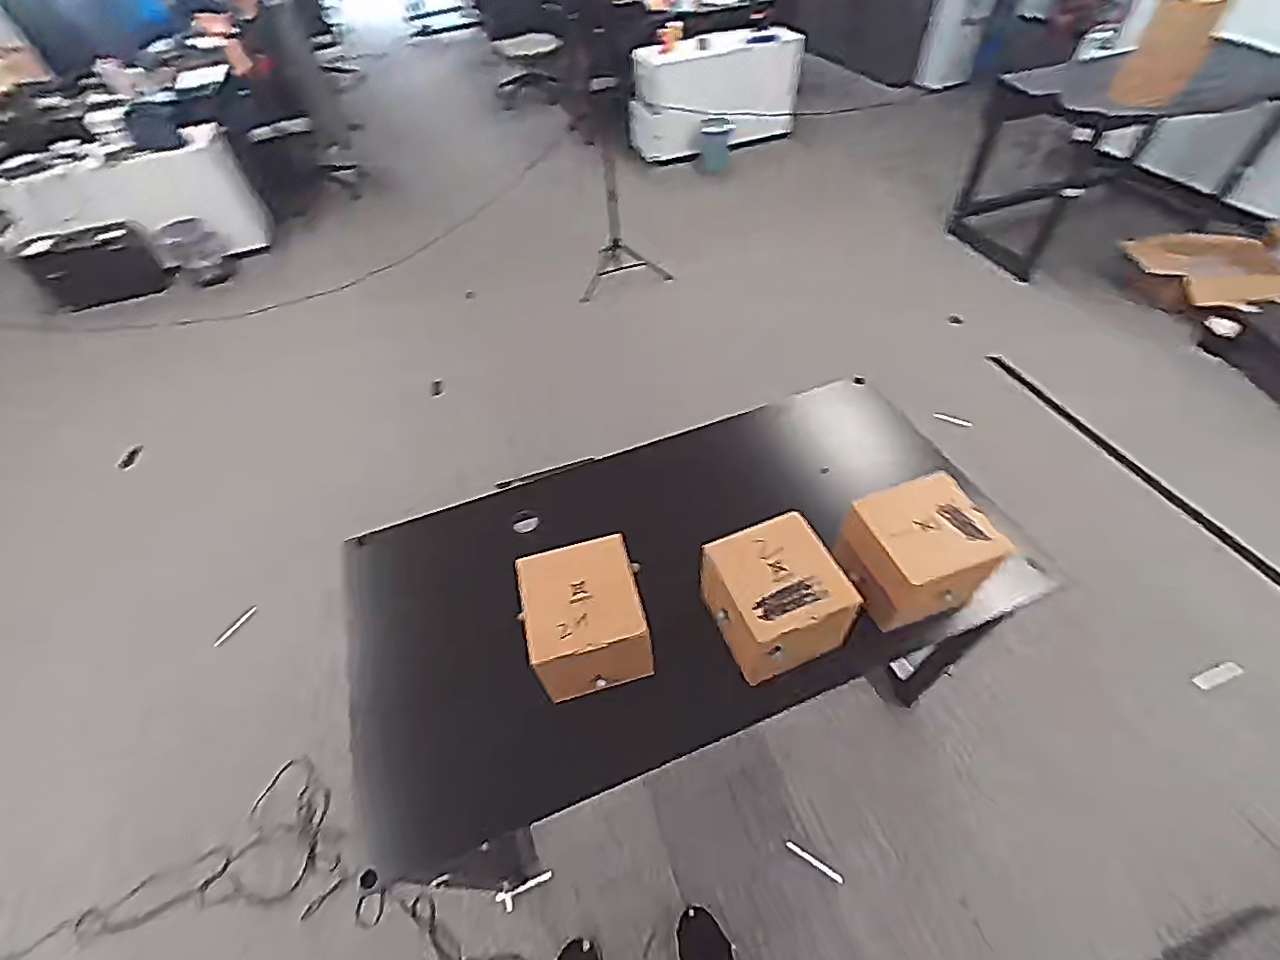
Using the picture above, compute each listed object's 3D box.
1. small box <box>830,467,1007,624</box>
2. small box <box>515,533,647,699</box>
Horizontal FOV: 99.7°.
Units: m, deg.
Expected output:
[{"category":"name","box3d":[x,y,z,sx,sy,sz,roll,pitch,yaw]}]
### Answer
[{"category":"small box","box3d":[0.442,0.111,0.892,0.179,0.176,0.168,-18,51,-8]},{"category":"small box","box3d":[-0.090,0.216,0.851,0.168,0.176,0.179,-15,52,-7]}]
